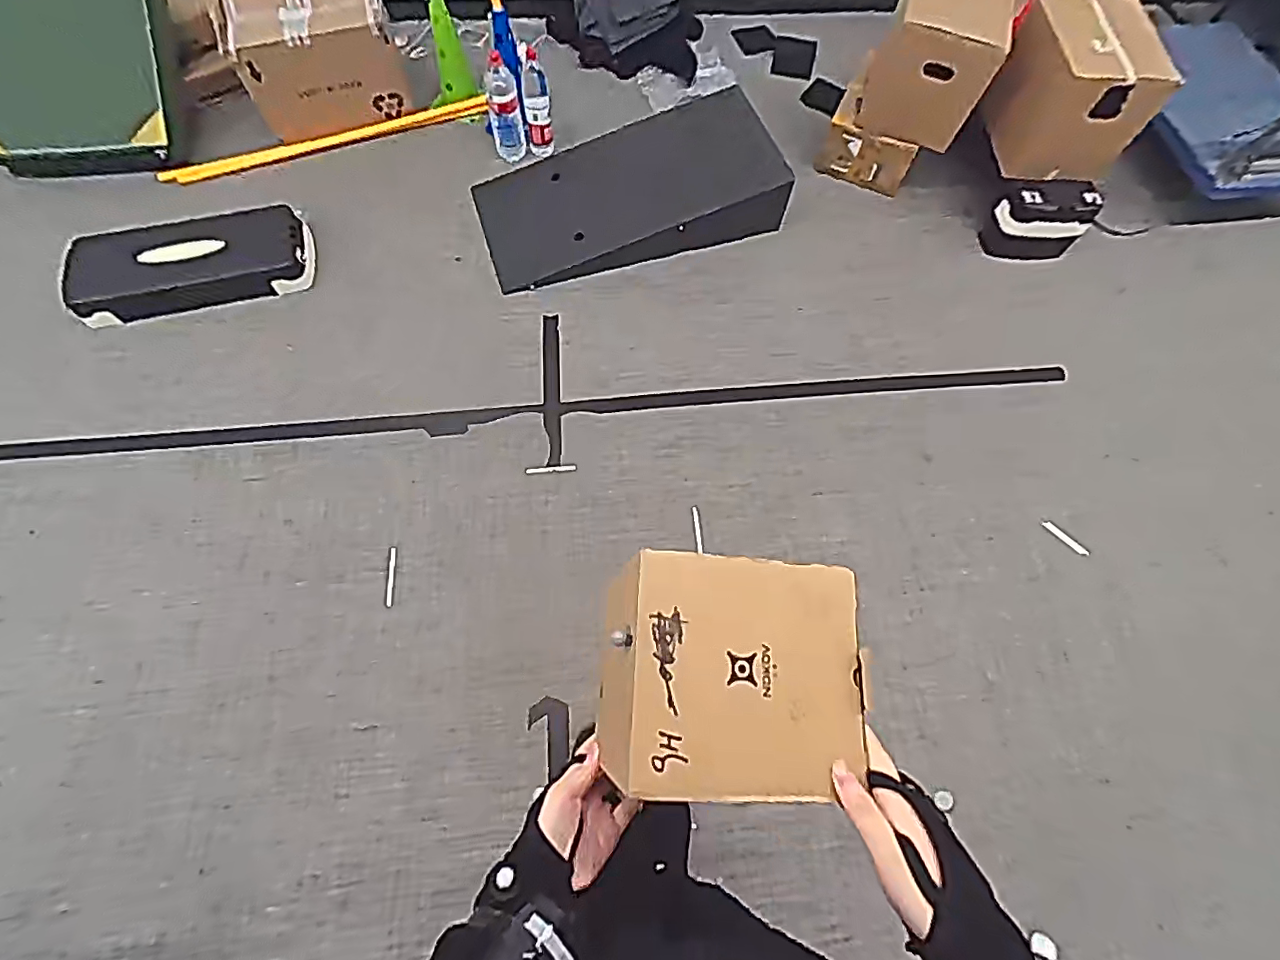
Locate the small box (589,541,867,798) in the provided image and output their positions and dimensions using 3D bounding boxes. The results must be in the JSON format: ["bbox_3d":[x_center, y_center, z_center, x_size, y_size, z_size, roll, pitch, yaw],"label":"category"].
[{"bbox_3d":[0.061,0.157,0.458,0.179,0.176,0.168,7,69,-11],"label":"small box"}]
